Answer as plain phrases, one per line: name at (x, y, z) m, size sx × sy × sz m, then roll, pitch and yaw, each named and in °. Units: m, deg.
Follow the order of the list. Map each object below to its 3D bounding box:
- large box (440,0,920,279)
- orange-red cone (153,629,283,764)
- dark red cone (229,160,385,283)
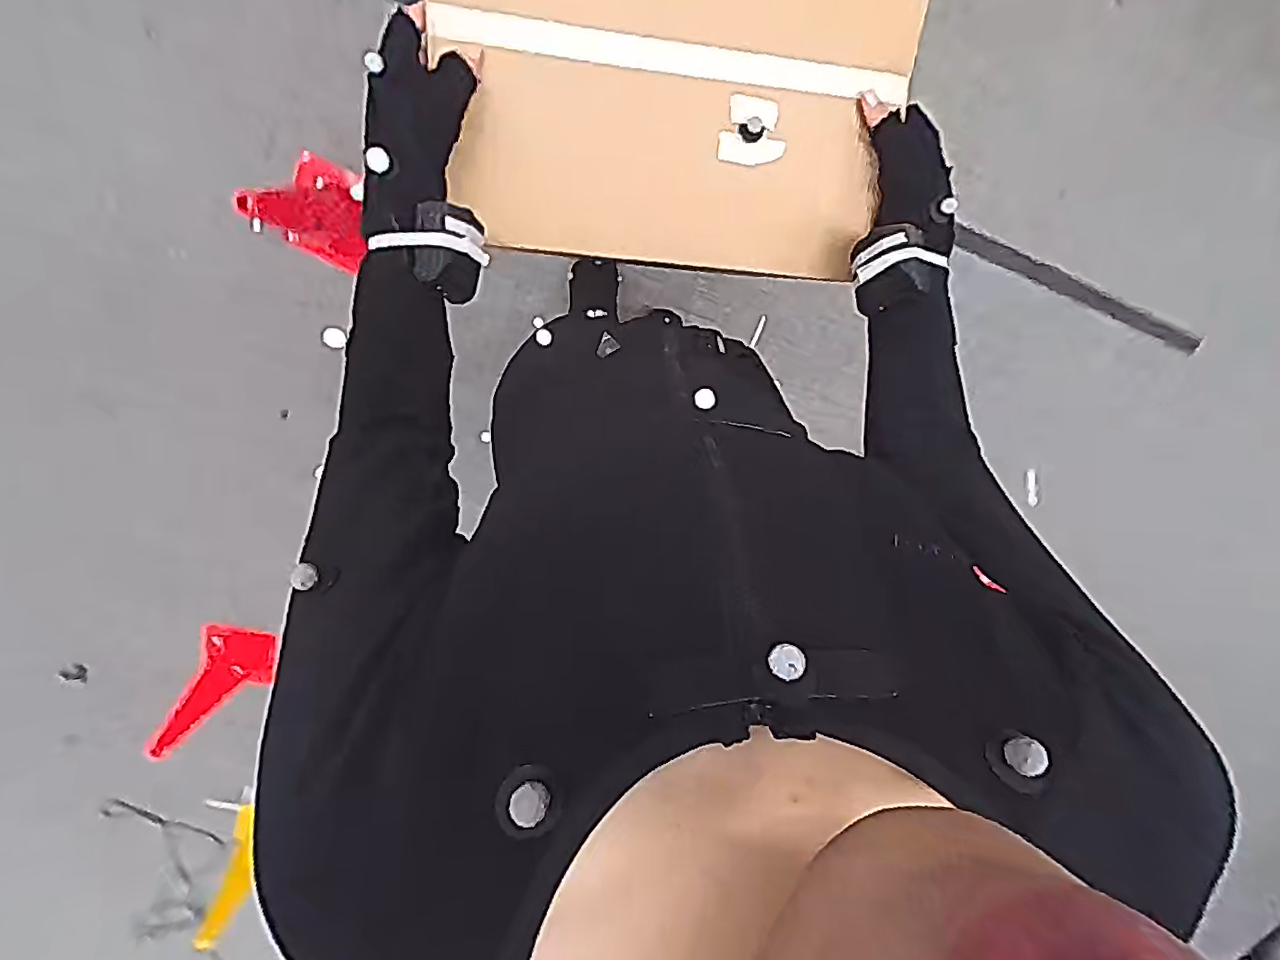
large box at (0.016, -0.402, 0.595) m, size 0.408 × 0.320 × 0.320 m, roll 3°, pitch 111°, yaw -9°
orange-red cone at (-1.174, 0.610, 1.473) m, size 0.198 × 0.360 × 0.199 m, roll 15°, pitch 111°, yaw -10°
dark red cone at (-0.663, -0.506, 1.043) m, size 0.201 × 0.394 × 0.202 m, roll 22°, pitch 108°, yaw -15°
